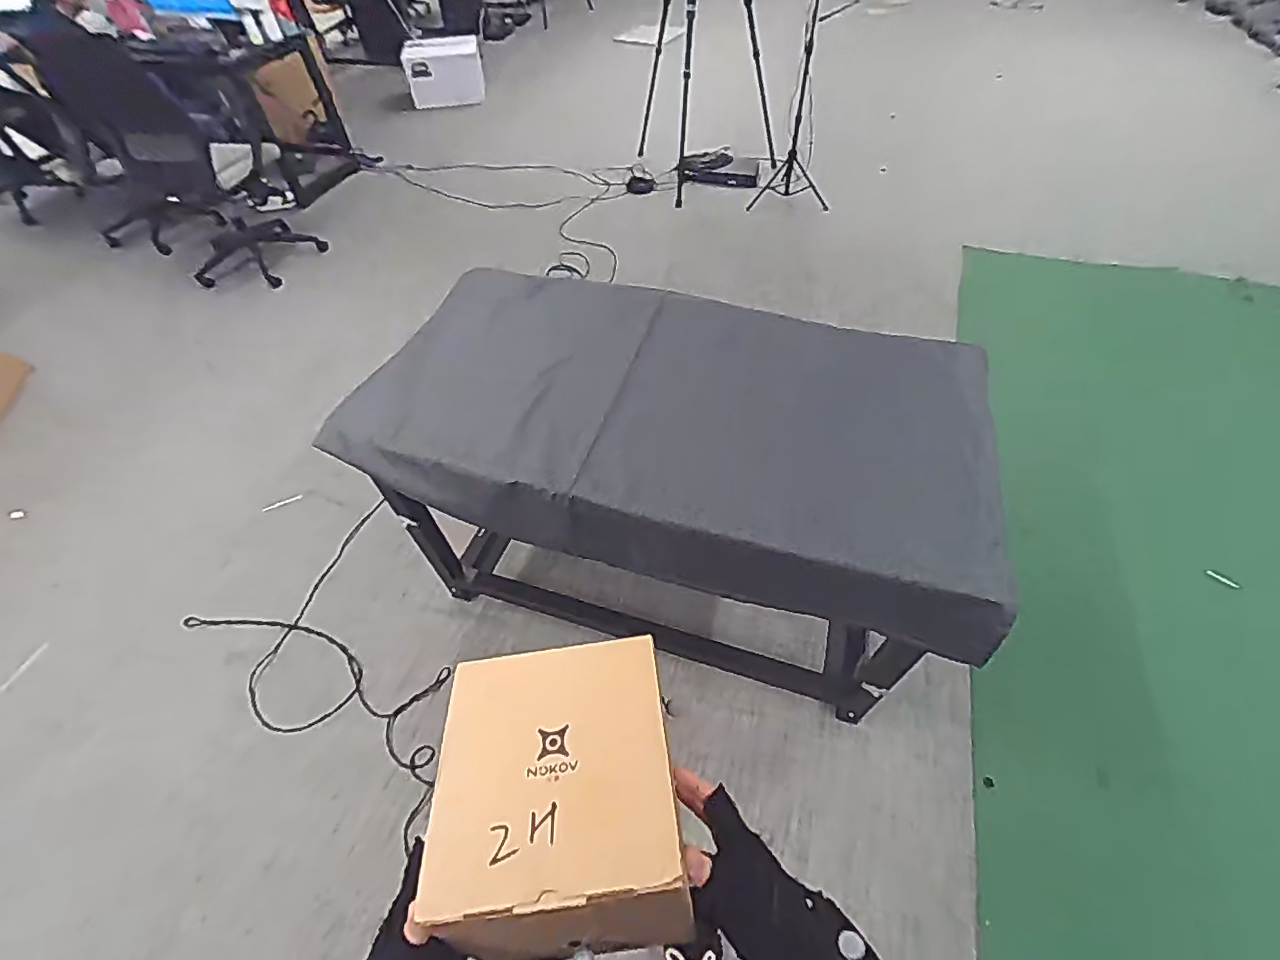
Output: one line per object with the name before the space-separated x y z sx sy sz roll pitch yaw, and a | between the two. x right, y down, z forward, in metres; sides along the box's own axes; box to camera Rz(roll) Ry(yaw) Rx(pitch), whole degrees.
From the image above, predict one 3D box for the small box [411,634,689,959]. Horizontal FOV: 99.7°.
small box | -0.056 0.254 0.437 0.168 0.176 0.179 -8 41 0
